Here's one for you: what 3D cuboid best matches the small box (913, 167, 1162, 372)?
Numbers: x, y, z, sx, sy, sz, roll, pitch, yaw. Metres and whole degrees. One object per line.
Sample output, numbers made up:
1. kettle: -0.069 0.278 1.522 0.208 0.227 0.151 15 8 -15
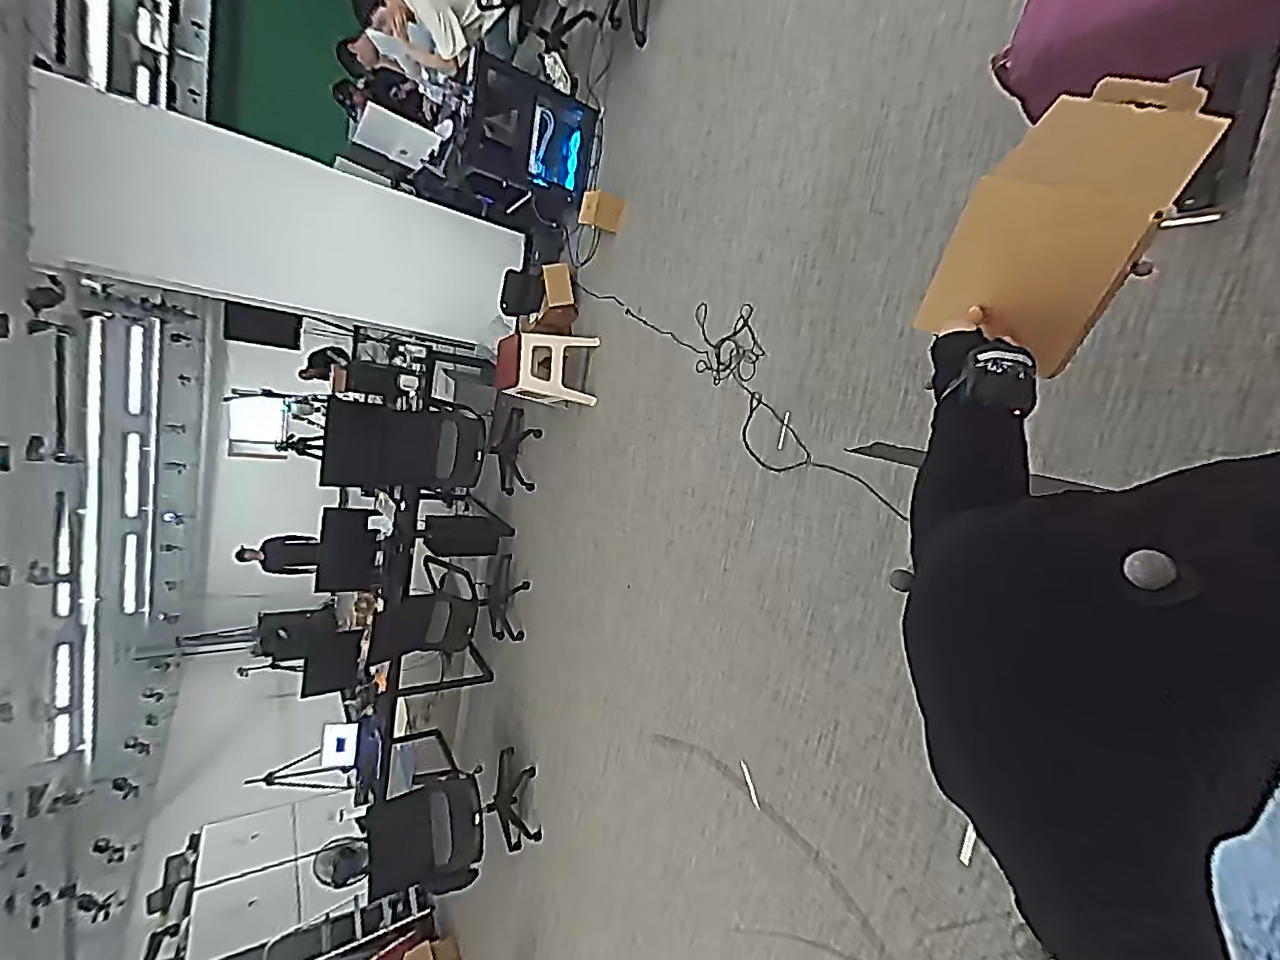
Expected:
1. small box: 0.471 -0.249 0.654 0.168 0.176 0.179 36 124 30
